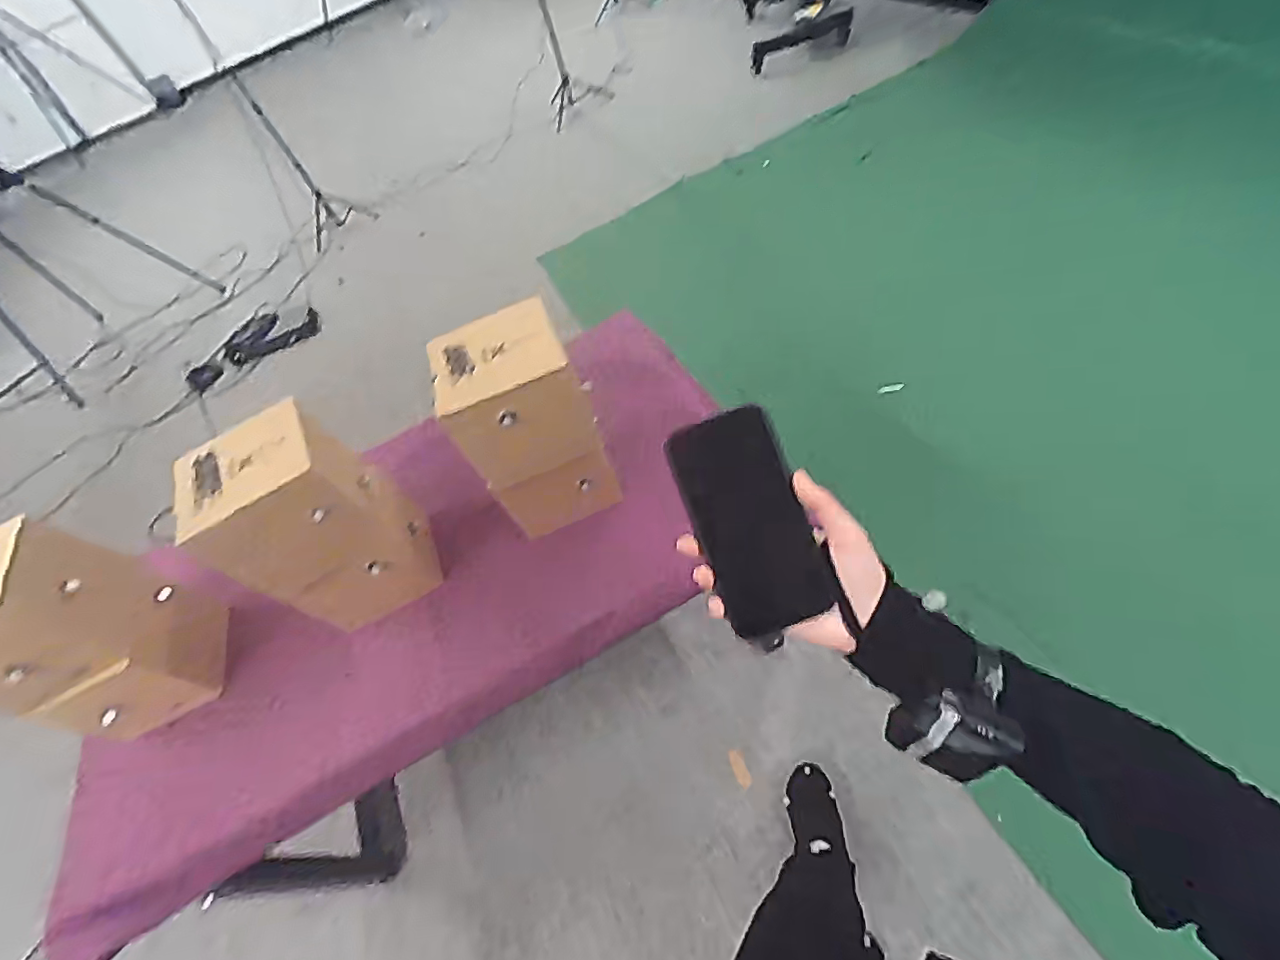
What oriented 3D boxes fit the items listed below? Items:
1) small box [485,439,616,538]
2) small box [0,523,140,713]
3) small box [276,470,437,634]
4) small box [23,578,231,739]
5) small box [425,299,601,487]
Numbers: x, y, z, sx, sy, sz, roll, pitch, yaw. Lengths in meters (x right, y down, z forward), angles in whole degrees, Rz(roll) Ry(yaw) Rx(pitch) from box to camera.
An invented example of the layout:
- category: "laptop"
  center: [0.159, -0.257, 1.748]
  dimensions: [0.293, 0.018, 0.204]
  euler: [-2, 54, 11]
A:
- category: "small box"
  center: [-0.152, -0.031, 0.909]
  dimensions: [0.179, 0.176, 0.168]
  euler: [-24, 52, 0]
- category: "small box"
  center: [-0.849, 0.198, 0.748]
  dimensions: [0.168, 0.176, 0.179]
  euler: [-32, 54, -8]
- category: "small box"
  center: [-0.456, 0.122, 0.890]
  dimensions: [0.179, 0.176, 0.168]
  euler: [-29, 52, -4]
- category: "small box"
  center: [-0.806, 0.296, 0.874]
  dimensions: [0.168, 0.176, 0.179]
  euler: [-28, 53, -4]
- category: "small box"
  center: [-0.177, -0.117, 0.771]
  dimensions: [0.179, 0.176, 0.168]
  euler: [-24, 52, -1]
